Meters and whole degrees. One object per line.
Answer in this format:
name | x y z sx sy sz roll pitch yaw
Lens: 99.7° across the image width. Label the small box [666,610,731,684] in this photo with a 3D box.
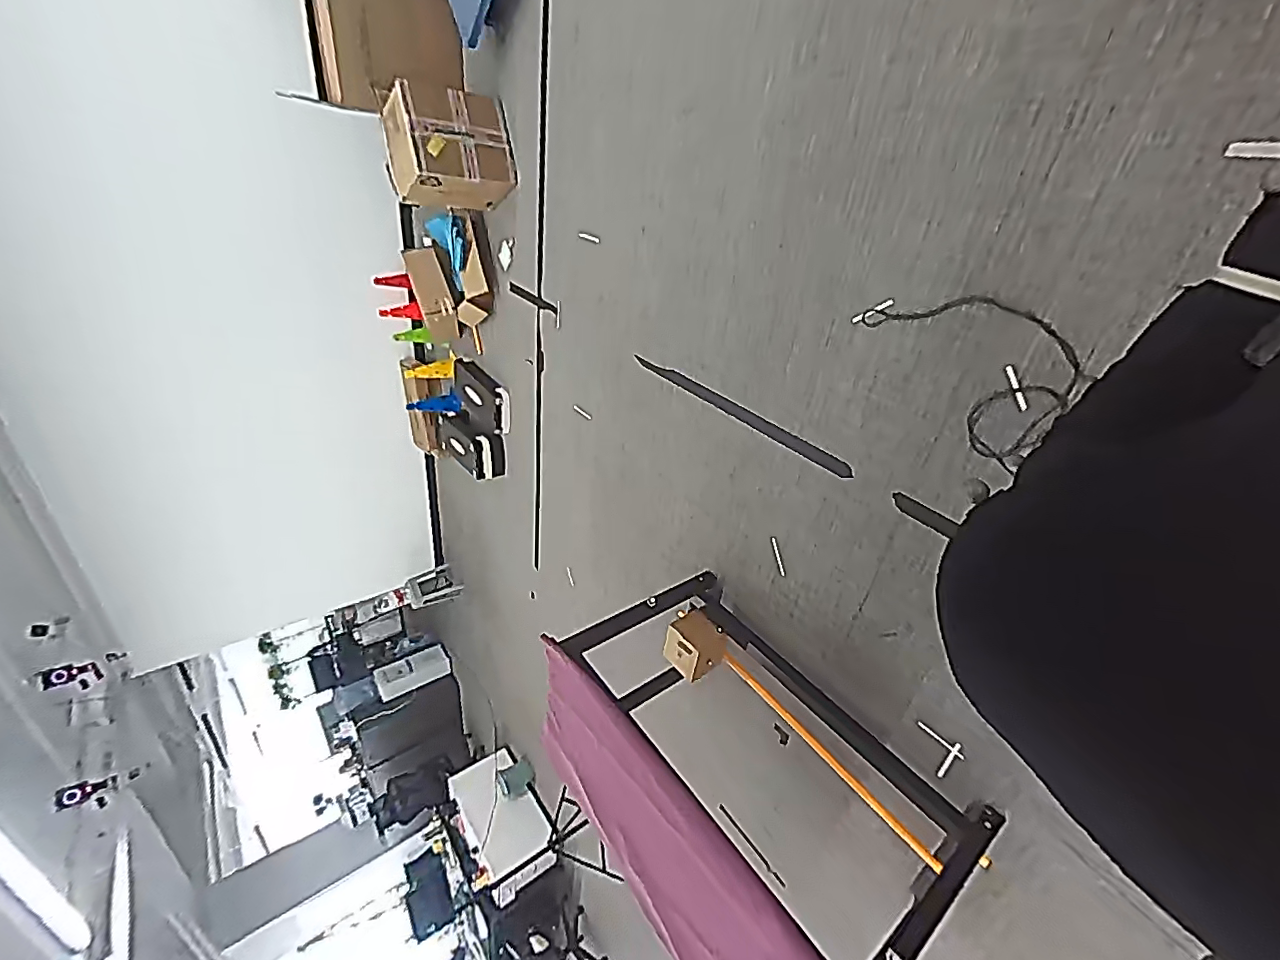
small box | 0.224 0.625 2.048 0.168 0.176 0.179 37 133 39
